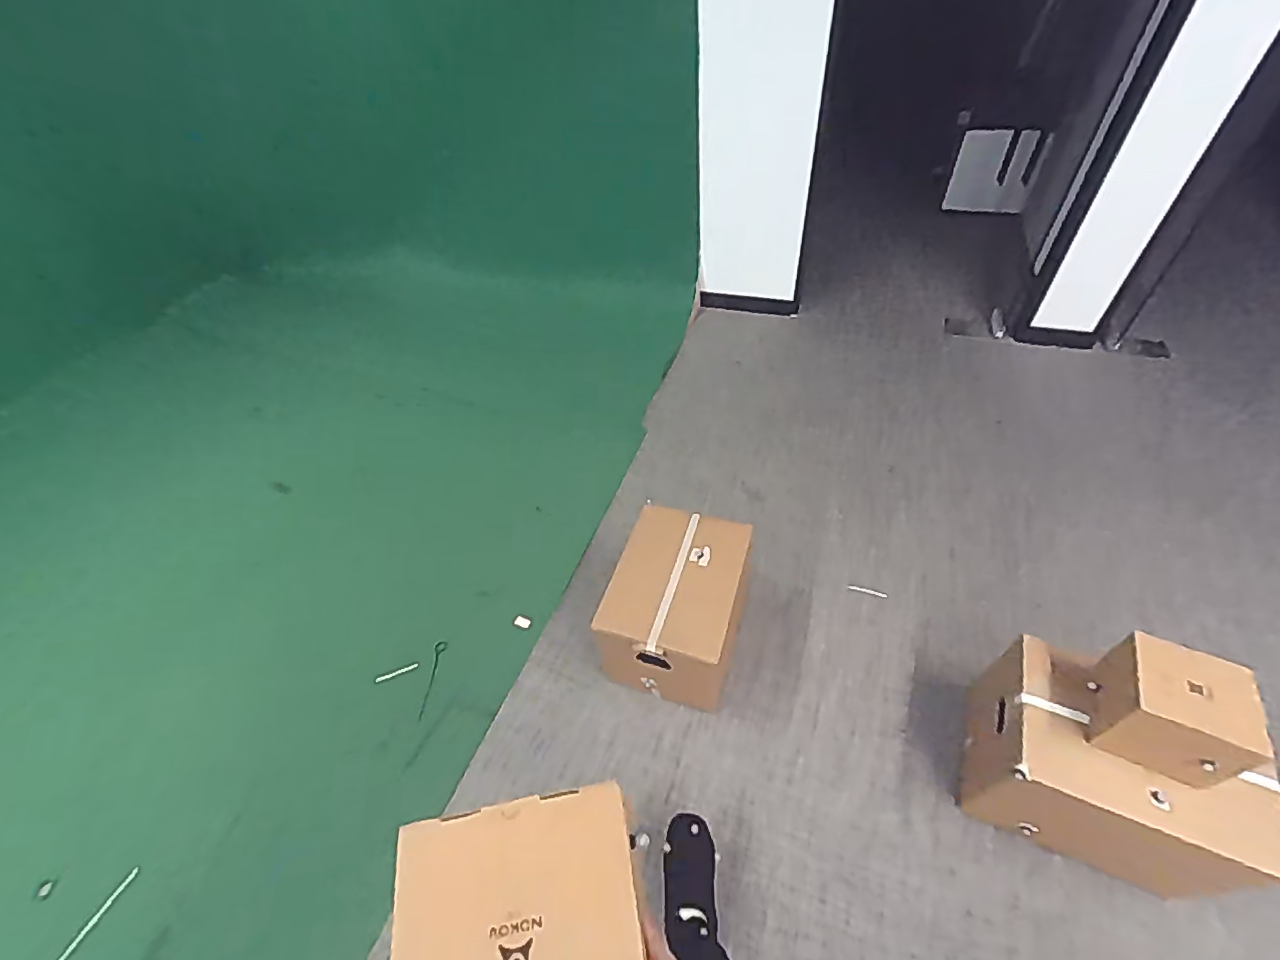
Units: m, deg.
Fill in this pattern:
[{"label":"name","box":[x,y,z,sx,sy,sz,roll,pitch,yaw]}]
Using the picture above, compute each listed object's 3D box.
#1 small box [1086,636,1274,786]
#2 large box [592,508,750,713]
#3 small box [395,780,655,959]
[{"label":"small box","box":[0.951,0.420,0.972,0.179,0.176,0.168,20,50,22]},{"label":"large box","box":[0.104,0.346,1.465,0.320,0.320,0.408,12,49,17]},{"label":"small box","box":[-0.077,0.354,0.425,0.168,0.176,0.179,-9,55,-4]}]
